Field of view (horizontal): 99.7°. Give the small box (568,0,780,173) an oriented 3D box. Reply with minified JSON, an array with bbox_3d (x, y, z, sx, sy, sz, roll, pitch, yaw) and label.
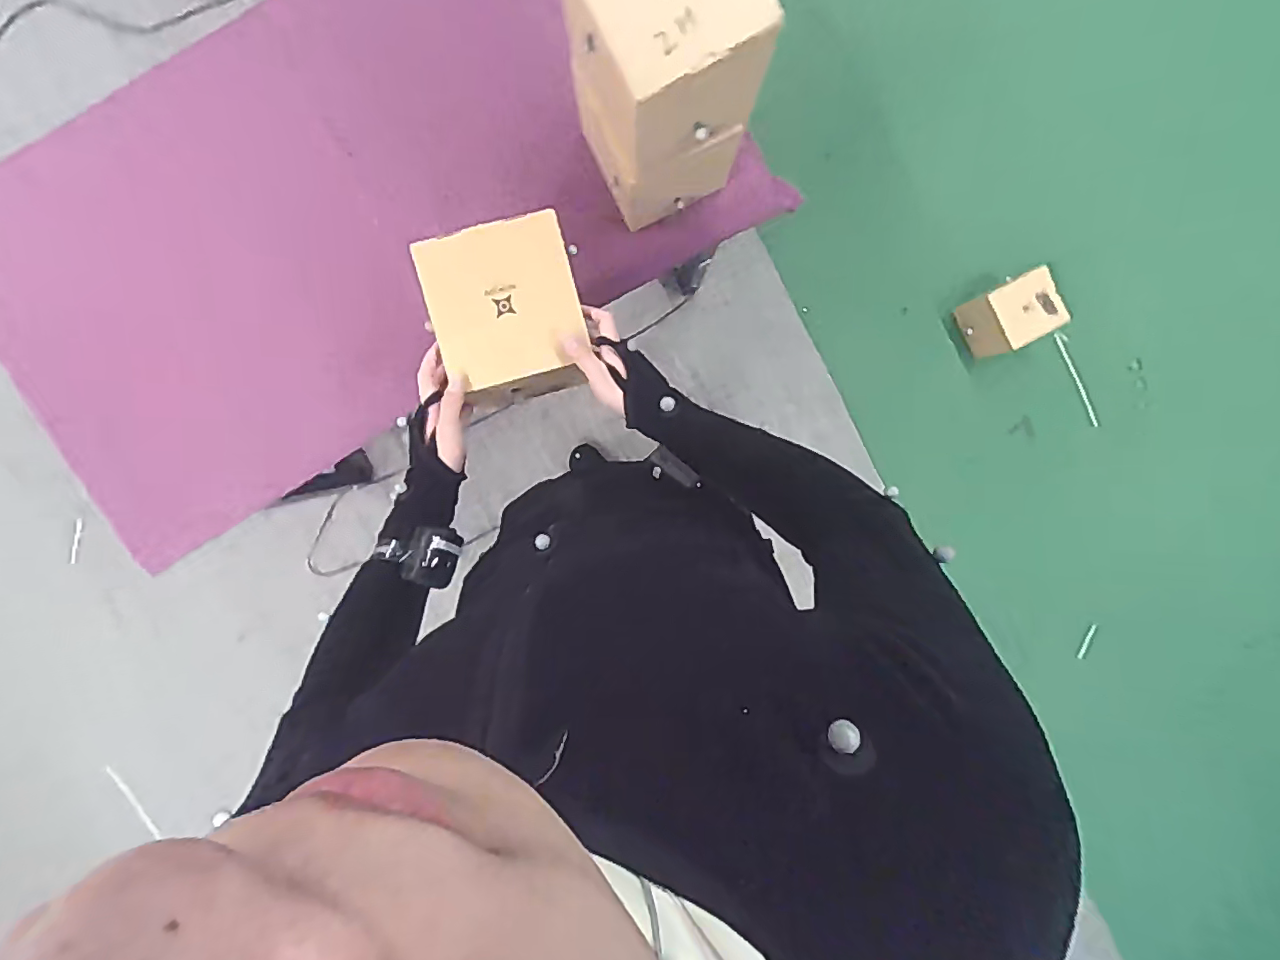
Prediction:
[{"bbox_3d":[0.026,-0.492,0.602,0.168,0.176,0.179,-28,95,3],"label":"small box"}]

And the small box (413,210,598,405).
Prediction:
[{"bbox_3d":[-0.152,-0.198,0.677,0.168,0.176,0.179,-16,92,-2],"label":"small box"}]

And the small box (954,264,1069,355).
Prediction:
[{"bbox_3d":[1.035,-0.472,1.521,0.179,0.176,0.168,-29,94,3],"label":"small box"}]
